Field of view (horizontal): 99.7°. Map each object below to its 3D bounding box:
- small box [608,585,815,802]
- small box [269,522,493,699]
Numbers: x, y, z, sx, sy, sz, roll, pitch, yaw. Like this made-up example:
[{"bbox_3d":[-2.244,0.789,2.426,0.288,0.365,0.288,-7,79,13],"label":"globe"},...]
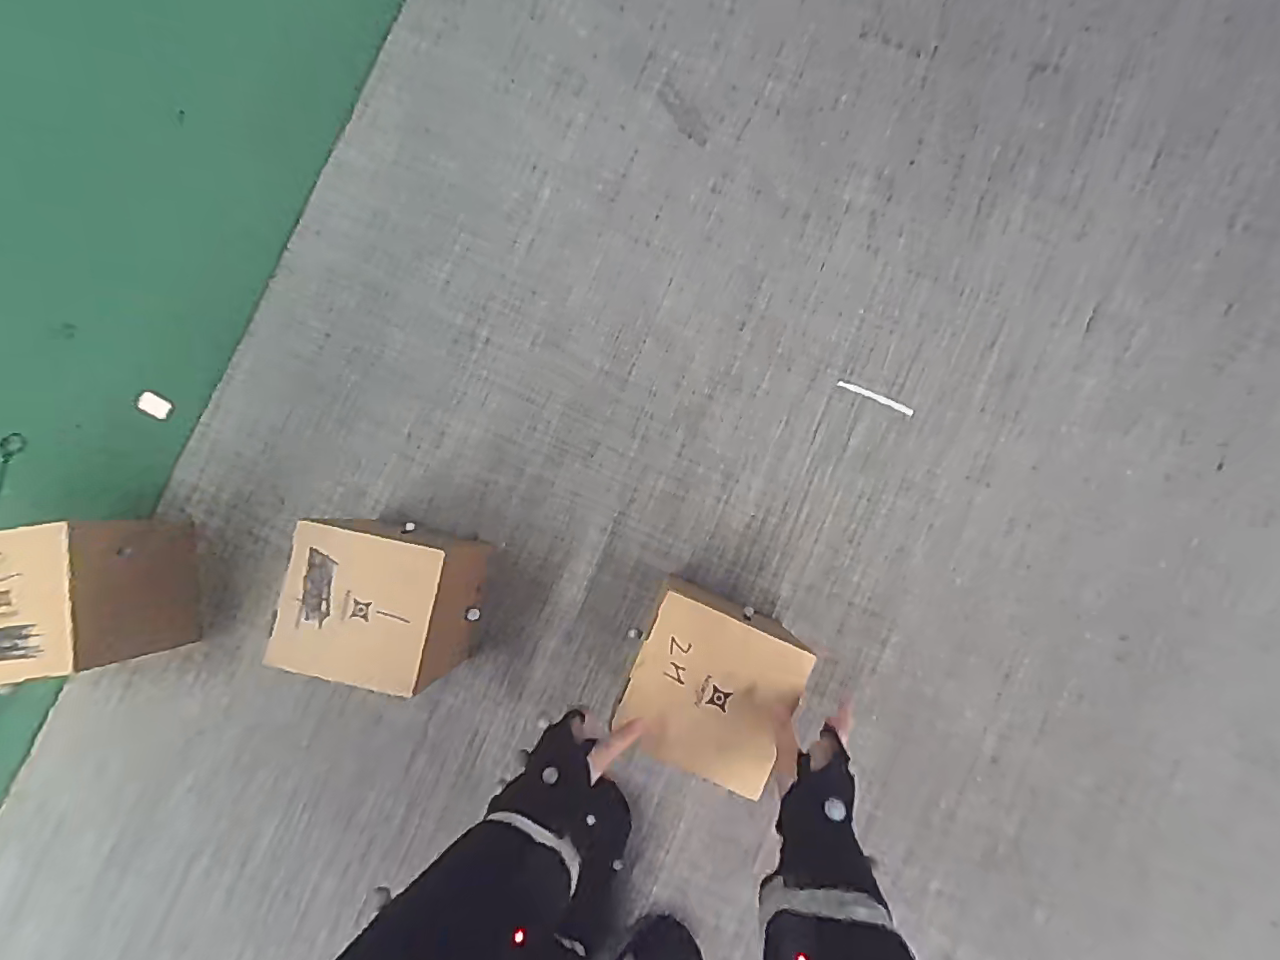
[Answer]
[{"bbox_3d":[0.080,0.238,0.657,0.179,0.176,0.168,24,86,4],"label":"small box"},{"bbox_3d":[-0.308,0.152,0.681,0.179,0.176,0.168,12,85,3],"label":"small box"}]
